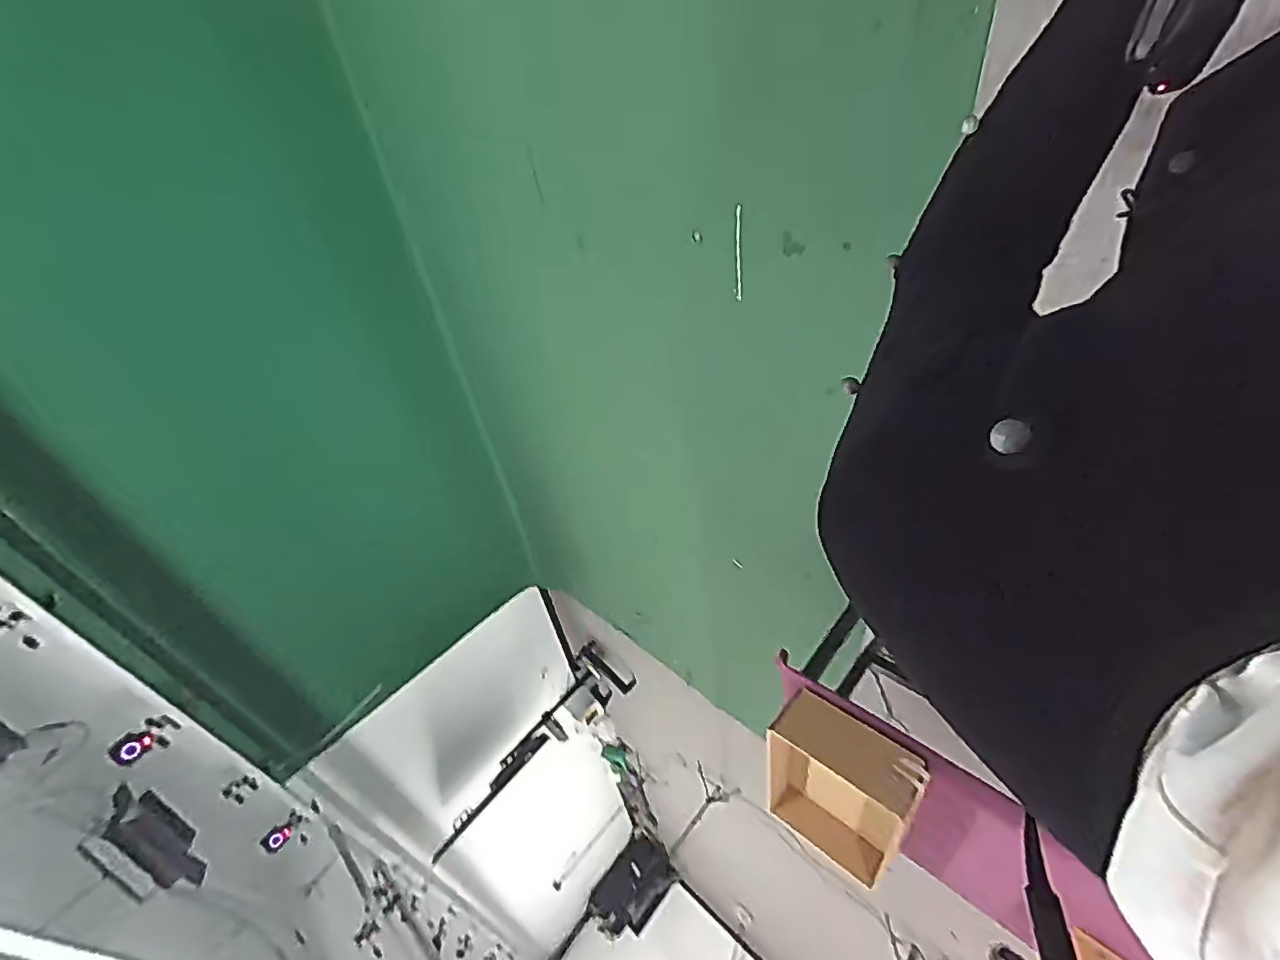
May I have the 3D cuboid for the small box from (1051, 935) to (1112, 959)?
[{"bbox_3d":[1.152,1.316,1.375,0.168,0.176,0.179,23,139,38],"label":"small box"}]
